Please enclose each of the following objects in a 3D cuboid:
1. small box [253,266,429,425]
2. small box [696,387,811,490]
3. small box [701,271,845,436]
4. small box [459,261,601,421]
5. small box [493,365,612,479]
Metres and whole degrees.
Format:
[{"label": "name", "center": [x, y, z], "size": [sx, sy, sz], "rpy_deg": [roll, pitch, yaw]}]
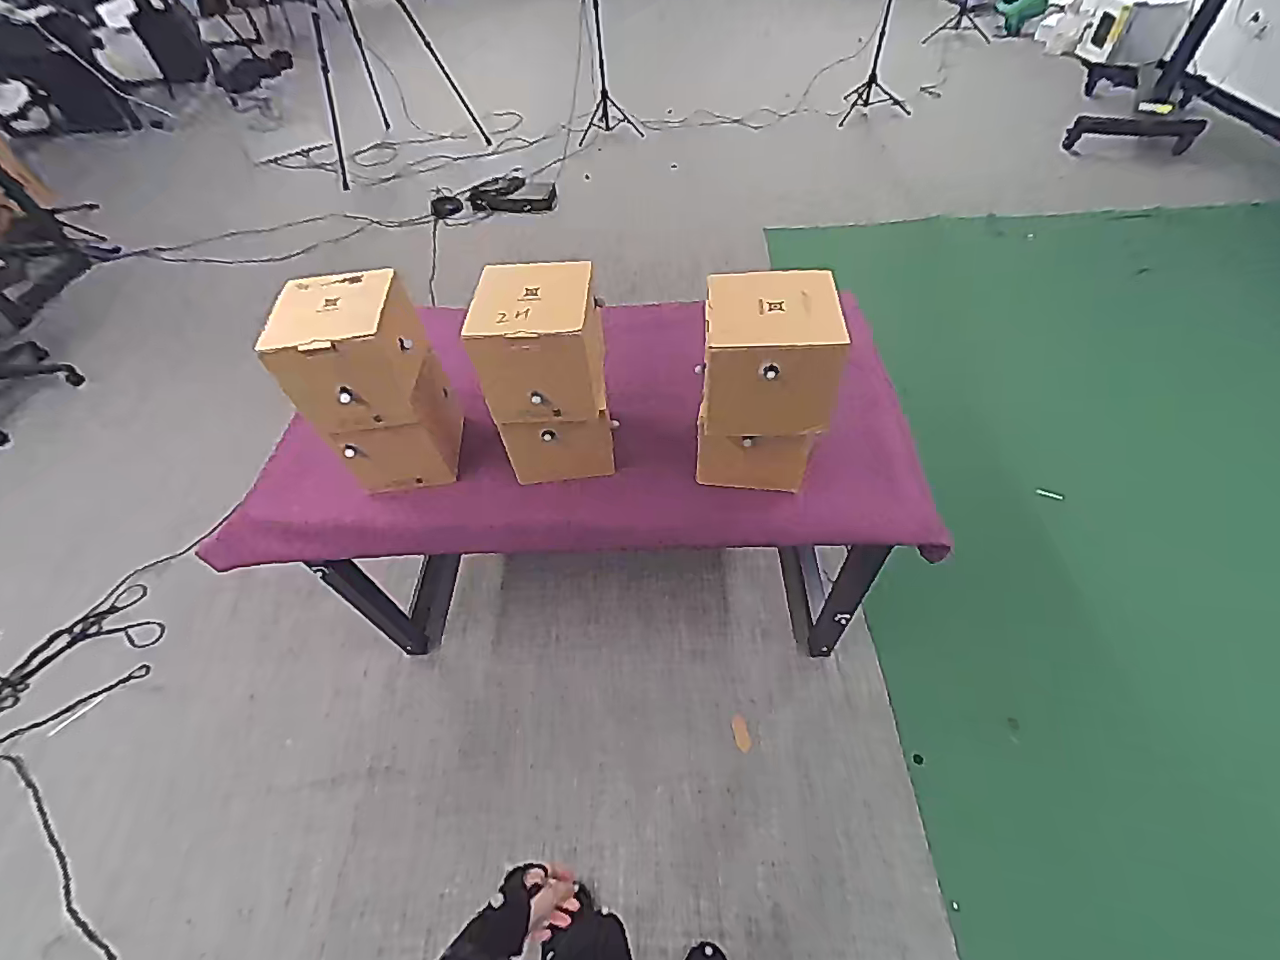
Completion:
[{"label": "small box", "center": [-0.442, -0.200, 0.837], "size": [0.168, 0.176, 0.179], "rpy_deg": [-7, 52, -2]}, {"label": "small box", "center": [0.191, -0.099, 0.920], "size": [0.179, 0.176, 0.168], "rpy_deg": [5, 52, 10]}, {"label": "small box", "center": [0.177, -0.177, 0.774], "size": [0.179, 0.176, 0.168], "rpy_deg": [1, 52, 6]}, {"label": "small box", "center": [-0.152, -0.210, 0.824], "size": [0.168, 0.176, 0.179], "rpy_deg": [-1, 53, 4]}, {"label": "small box", "center": [-0.147, -0.116, 0.958], "size": [0.179, 0.176, 0.168], "rpy_deg": [-6, 52, -2]}]
